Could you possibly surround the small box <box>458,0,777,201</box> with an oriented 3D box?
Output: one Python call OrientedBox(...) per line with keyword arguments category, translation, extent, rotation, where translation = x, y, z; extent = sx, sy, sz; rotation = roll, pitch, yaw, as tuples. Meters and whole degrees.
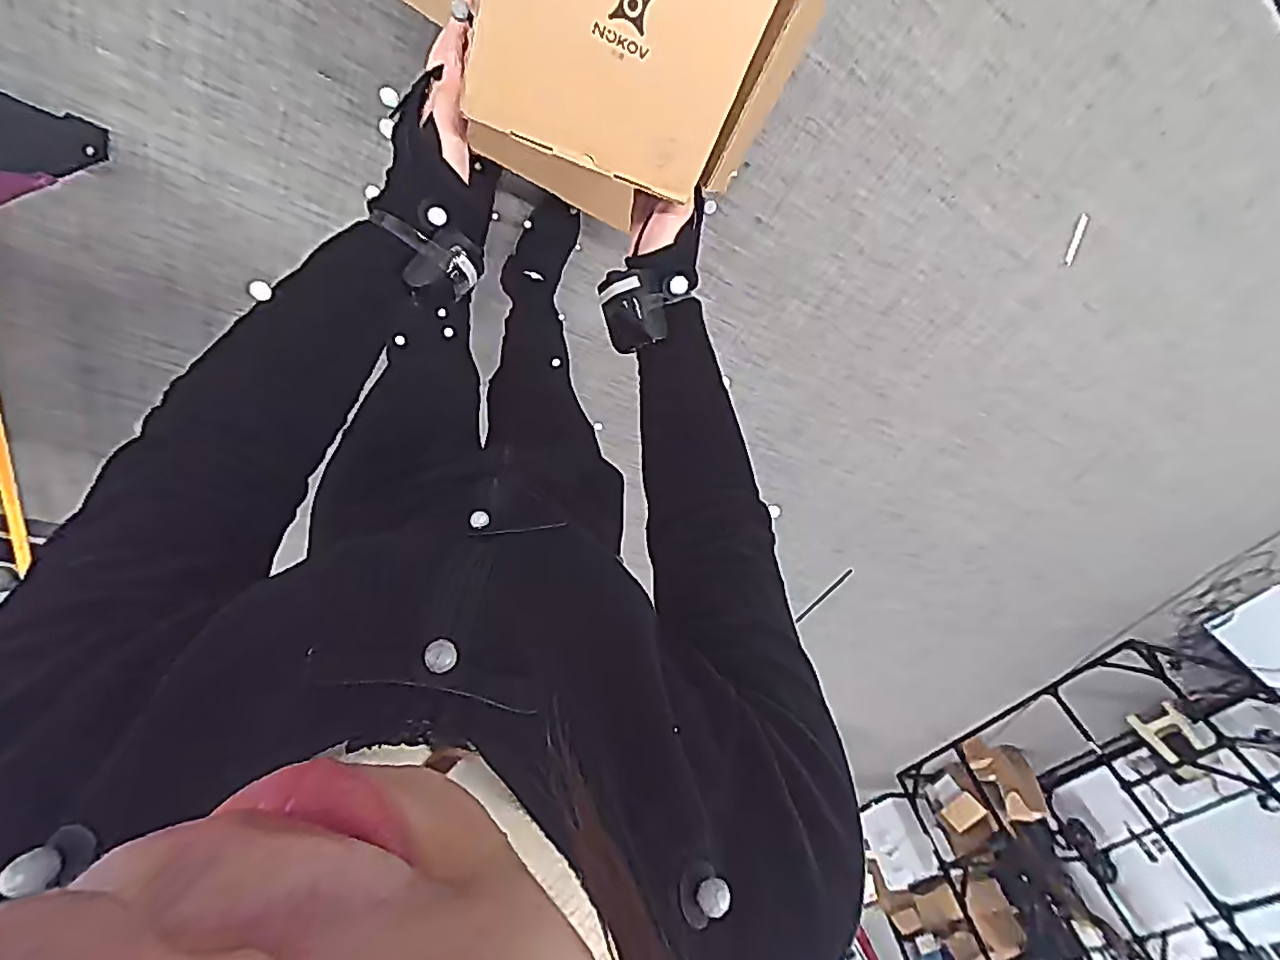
OrientedBox(category="small box", translation=(-0.021, -0.335, 0.371), extent=(0.168, 0.176, 0.179), rotation=(9, 132, -25))
